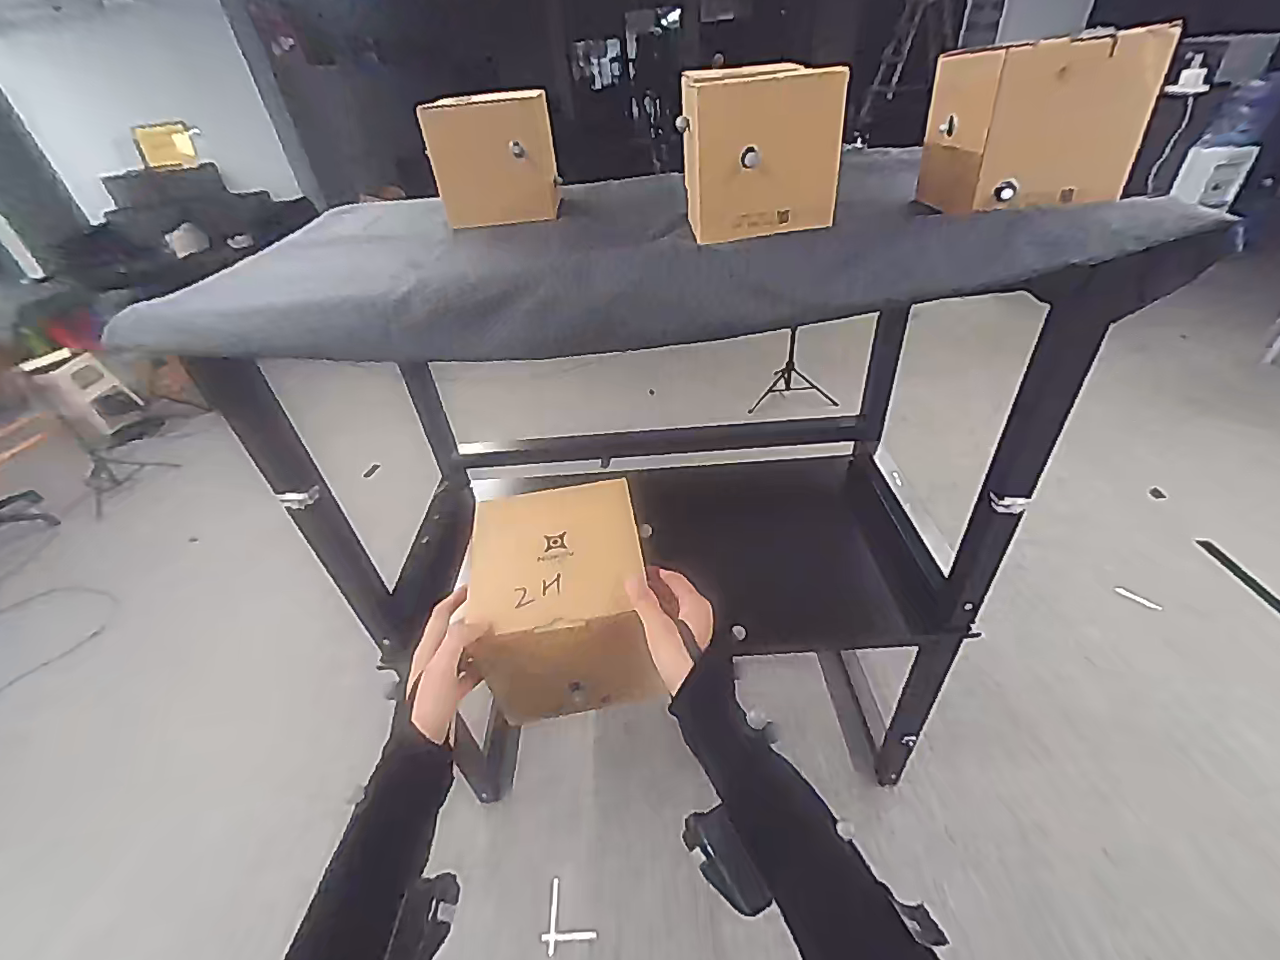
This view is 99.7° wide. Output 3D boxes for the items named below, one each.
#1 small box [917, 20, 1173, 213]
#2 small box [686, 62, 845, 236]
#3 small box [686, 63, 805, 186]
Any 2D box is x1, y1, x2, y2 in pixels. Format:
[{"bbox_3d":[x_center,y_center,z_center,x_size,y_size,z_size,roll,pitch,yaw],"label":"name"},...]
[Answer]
[{"bbox_3d":[0.464,-0.431,0.658,0.168,0.176,0.179,-3,34,5],"label":"small box"},{"bbox_3d":[0.150,-0.421,0.697,0.168,0.176,0.179,-4,35,3],"label":"small box"},{"bbox_3d":[0.163,-0.577,0.897,0.168,0.176,0.179,-5,37,2],"label":"small box"}]
